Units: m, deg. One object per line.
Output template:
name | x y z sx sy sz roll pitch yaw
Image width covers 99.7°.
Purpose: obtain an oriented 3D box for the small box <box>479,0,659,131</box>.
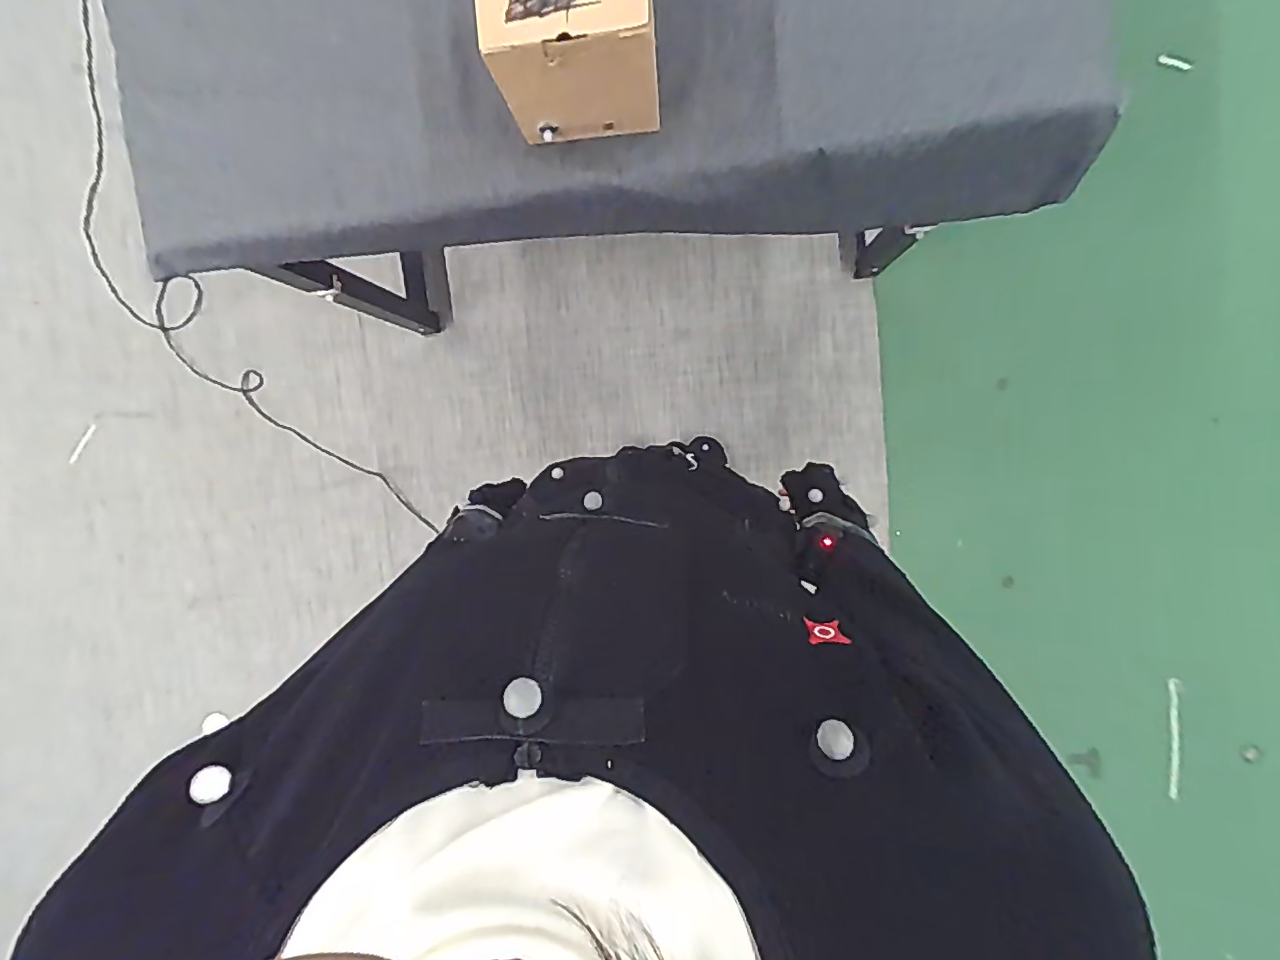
small box | -0.067 -0.509 0.587 0.168 0.176 0.179 -2 94 4
